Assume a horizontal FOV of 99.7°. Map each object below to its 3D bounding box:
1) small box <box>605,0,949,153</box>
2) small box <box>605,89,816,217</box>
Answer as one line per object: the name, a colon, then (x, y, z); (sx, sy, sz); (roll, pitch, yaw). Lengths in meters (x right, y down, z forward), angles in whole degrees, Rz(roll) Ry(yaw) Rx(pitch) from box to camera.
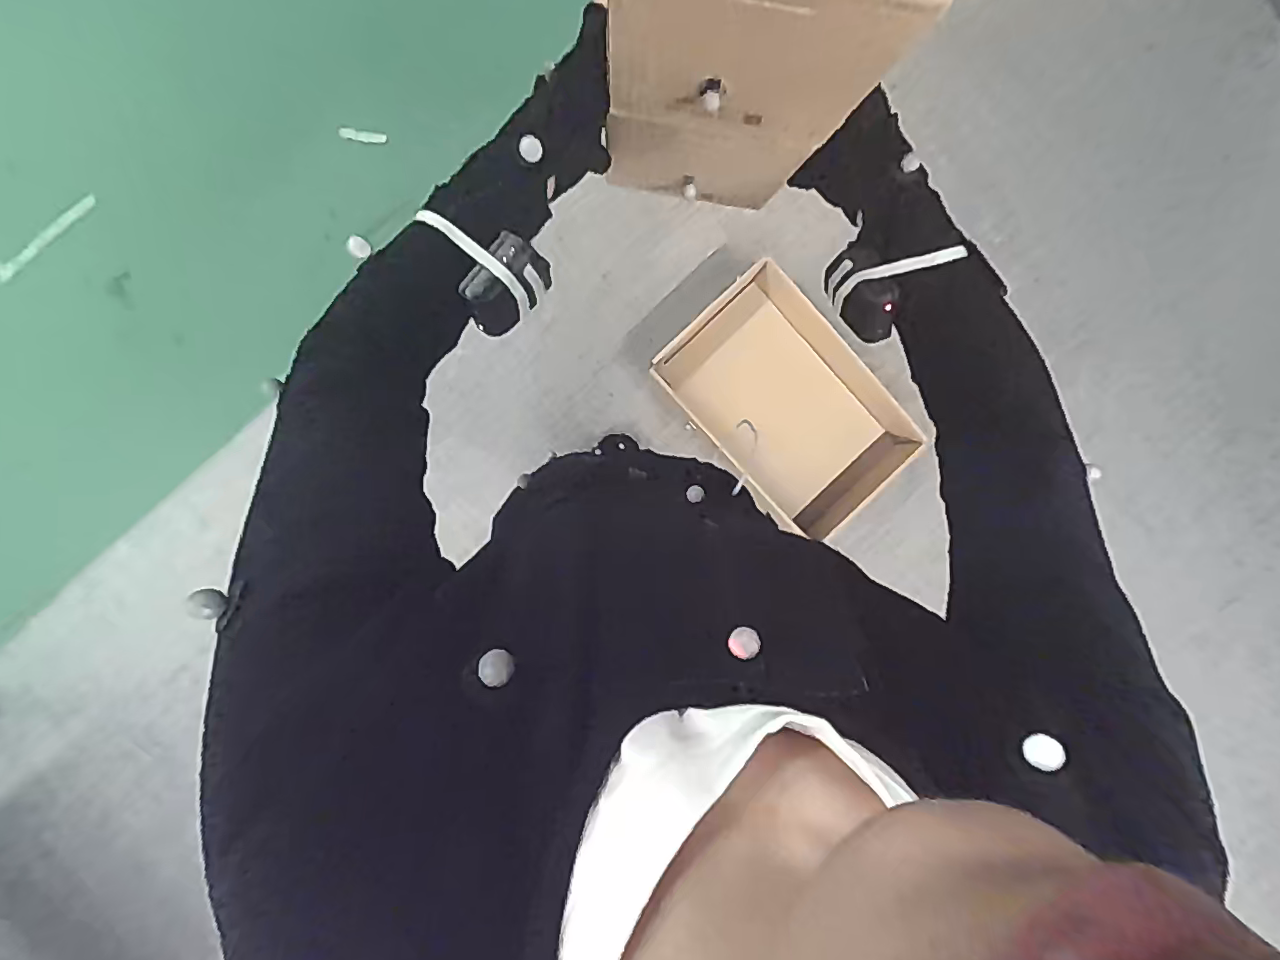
small box: (0.069, -0.325, 0.313); (0.168, 0.176, 0.179); (5, 102, -4)
small box: (0.060, -0.356, 0.473); (0.168, 0.176, 0.179); (7, 101, -4)
